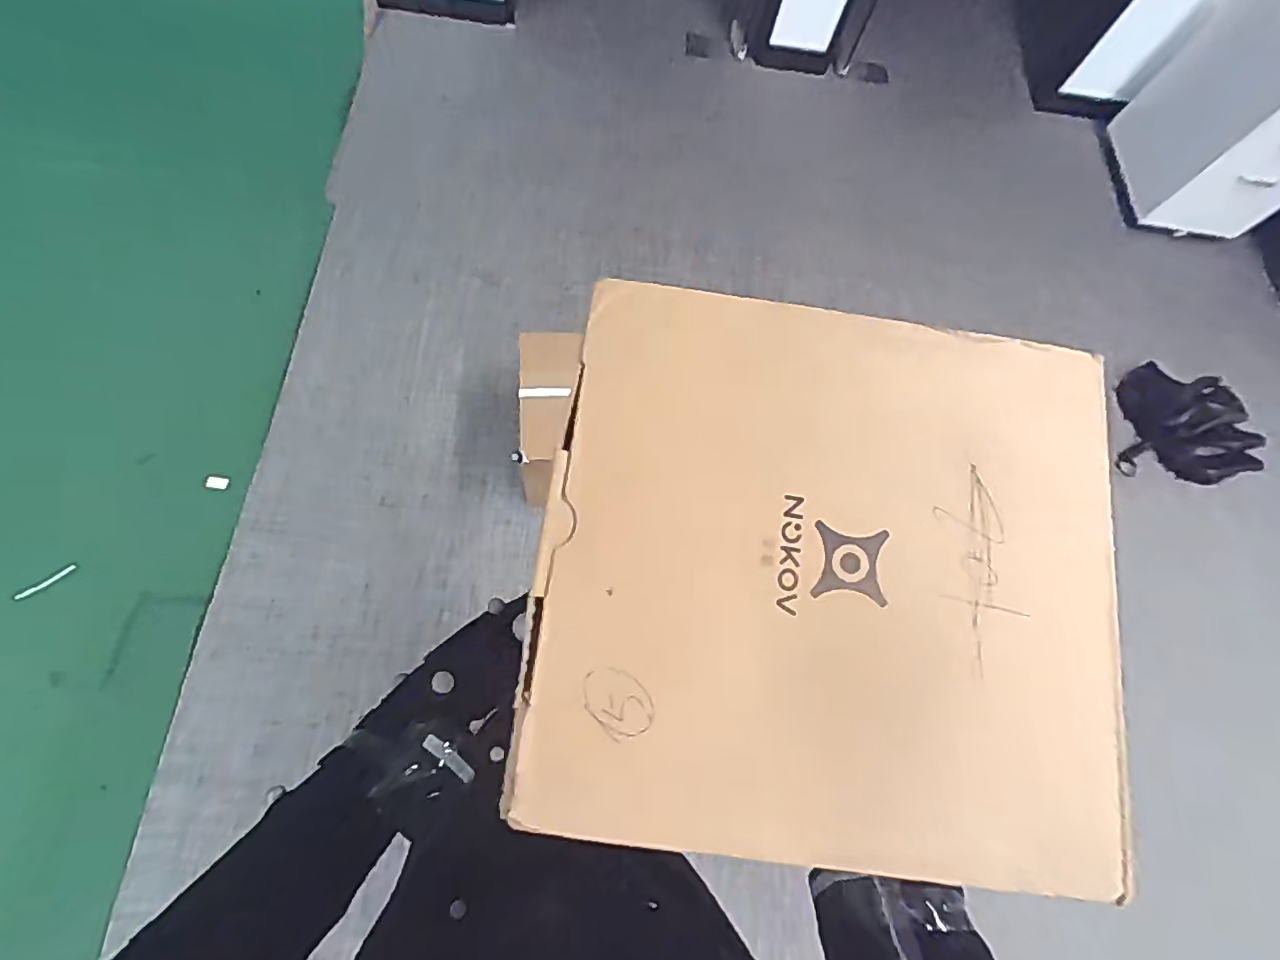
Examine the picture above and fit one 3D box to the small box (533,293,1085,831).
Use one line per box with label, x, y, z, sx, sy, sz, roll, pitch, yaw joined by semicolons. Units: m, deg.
small box;0.056;0.037;0.260;0.179;0.176;0.168;7;78;-4
